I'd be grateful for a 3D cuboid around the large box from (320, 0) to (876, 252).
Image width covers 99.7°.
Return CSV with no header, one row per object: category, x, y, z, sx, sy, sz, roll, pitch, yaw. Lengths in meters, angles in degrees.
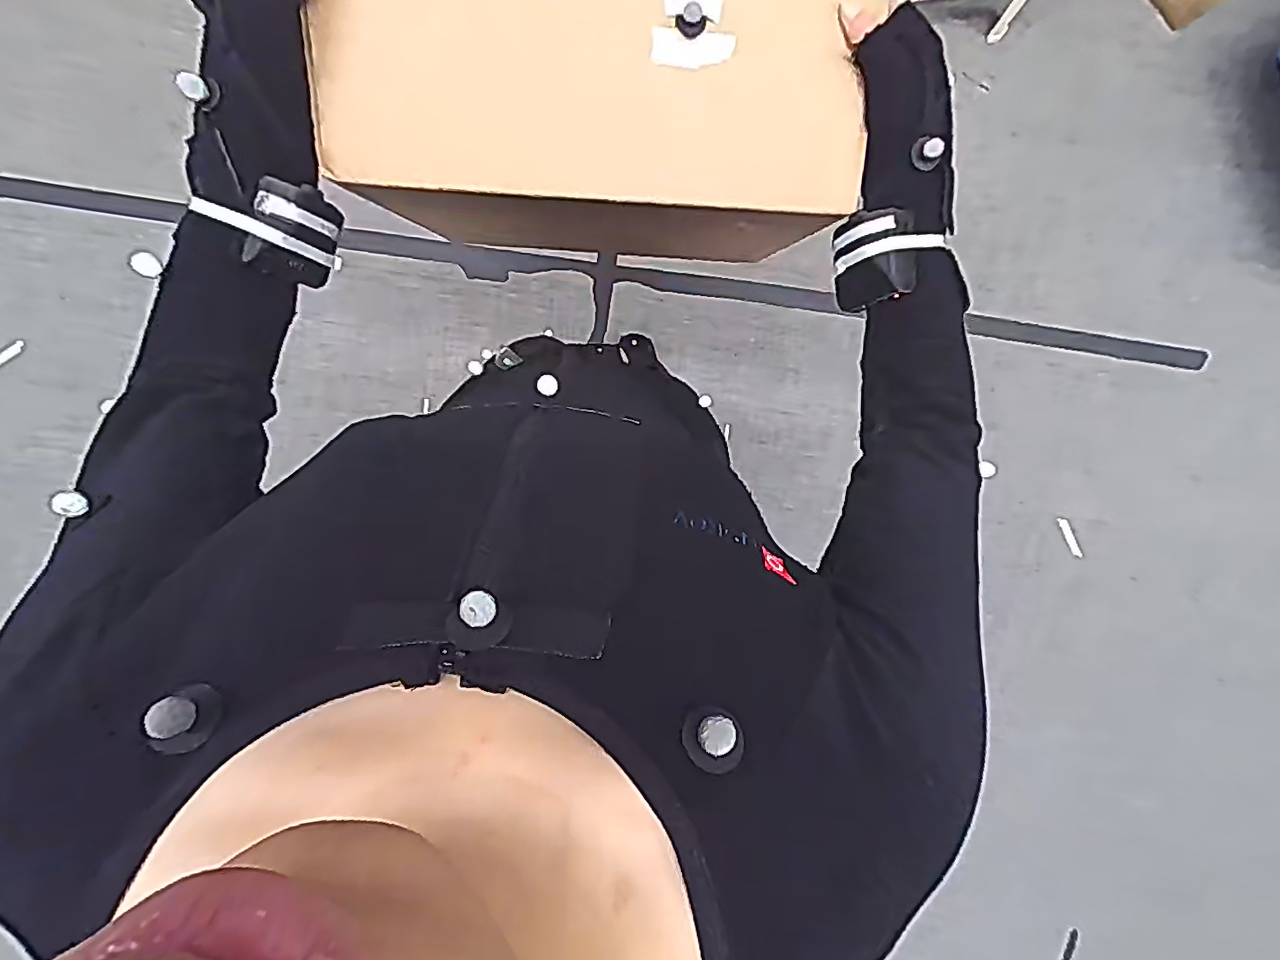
large box,-0.032,-0.413,0.521,0.408,0.320,0.320,2,106,-3
